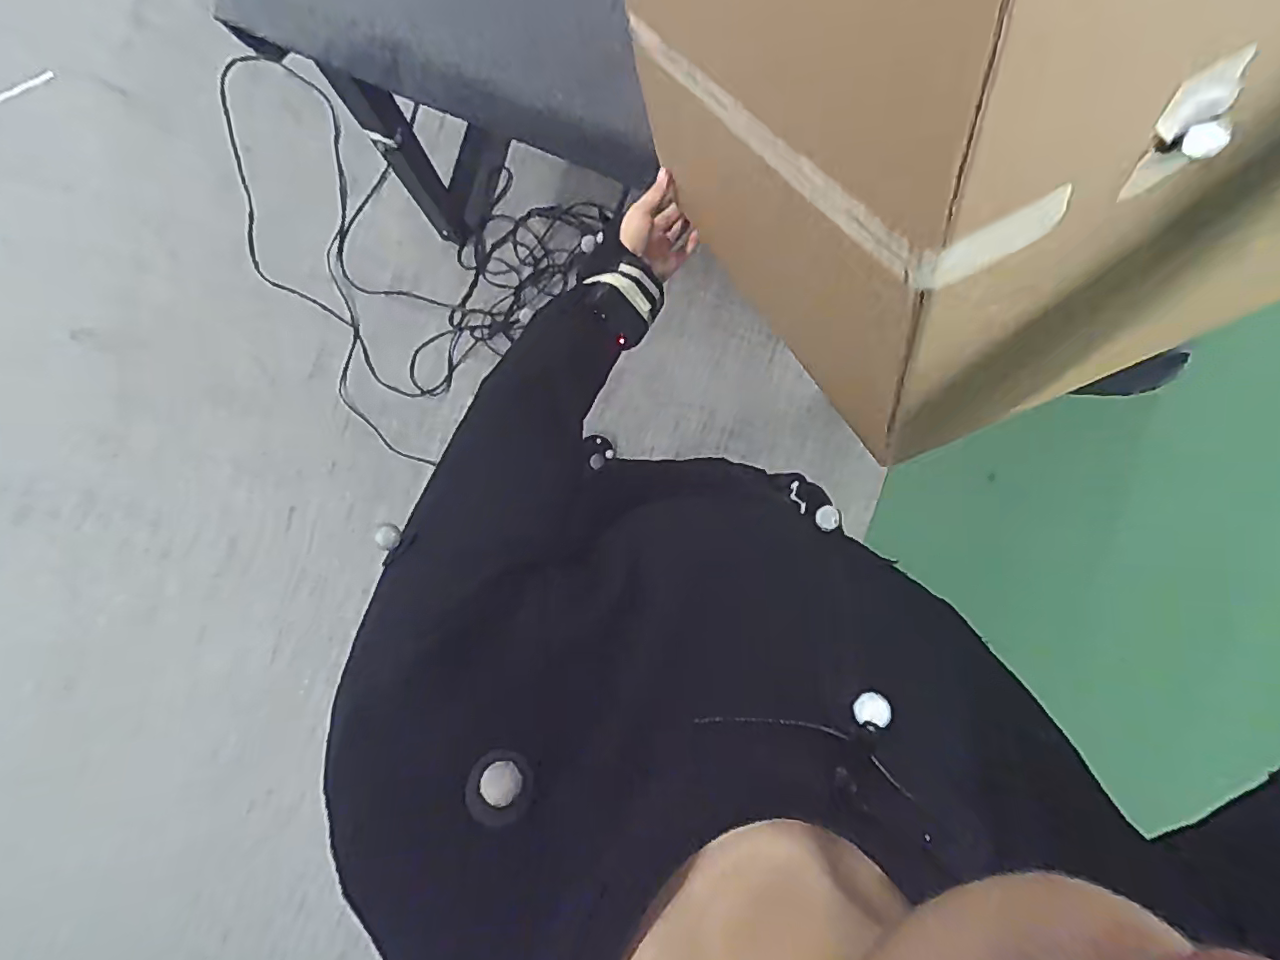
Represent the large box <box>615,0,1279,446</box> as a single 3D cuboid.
[{"bbox_3d":[0.191,-0.302,0.337,0.320,0.320,0.408,-25,56,0],"label":"large box"}]
